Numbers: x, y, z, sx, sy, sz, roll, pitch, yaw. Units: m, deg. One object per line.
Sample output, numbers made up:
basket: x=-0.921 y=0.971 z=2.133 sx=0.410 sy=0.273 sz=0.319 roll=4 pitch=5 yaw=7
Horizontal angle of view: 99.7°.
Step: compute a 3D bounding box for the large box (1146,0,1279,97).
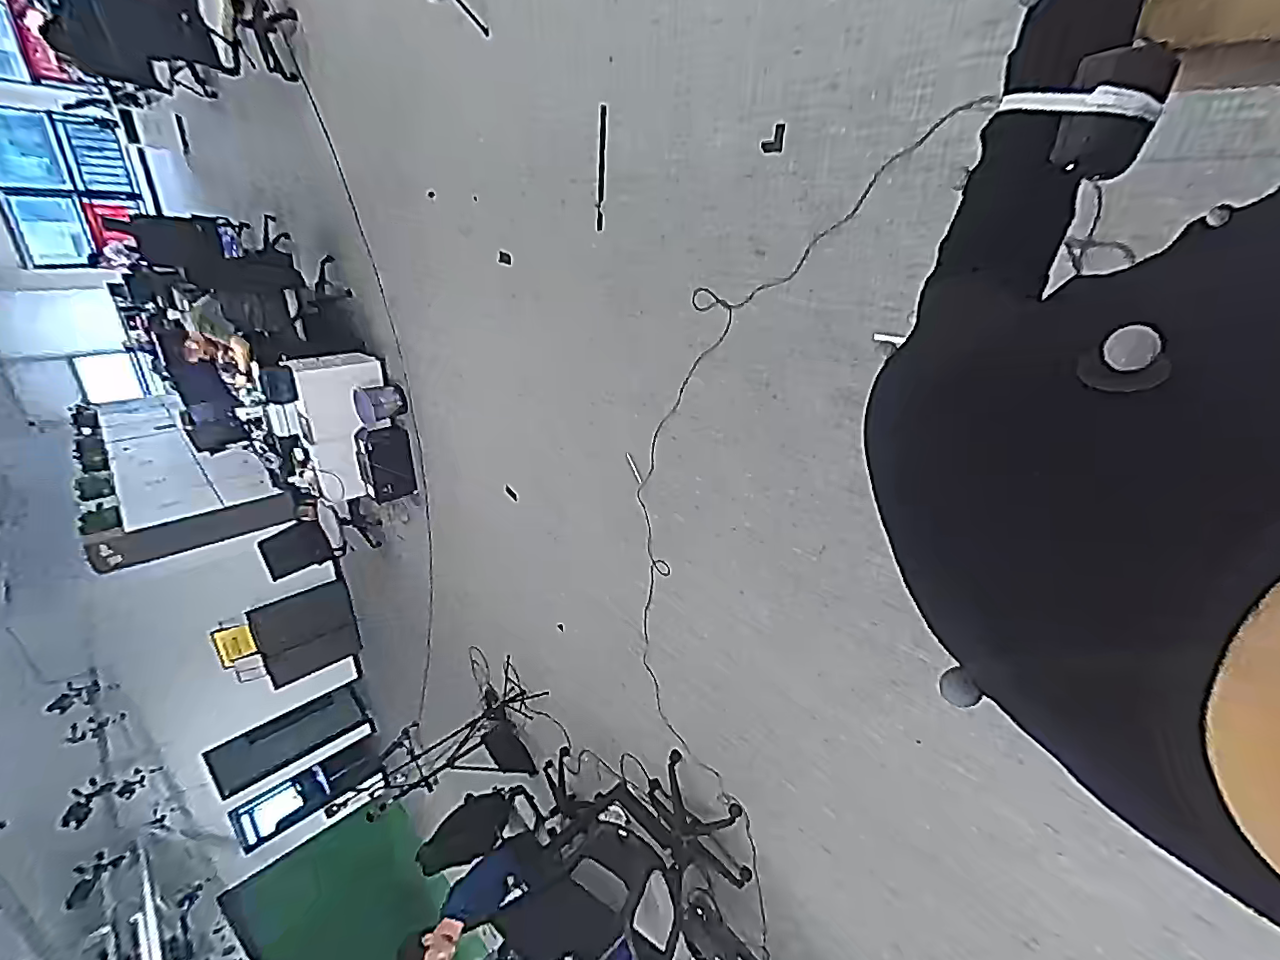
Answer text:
large box: x=0.560 y=-0.401 z=0.255 sx=0.408 sy=0.320 sz=0.320 roll=22 pitch=128 yaw=35
